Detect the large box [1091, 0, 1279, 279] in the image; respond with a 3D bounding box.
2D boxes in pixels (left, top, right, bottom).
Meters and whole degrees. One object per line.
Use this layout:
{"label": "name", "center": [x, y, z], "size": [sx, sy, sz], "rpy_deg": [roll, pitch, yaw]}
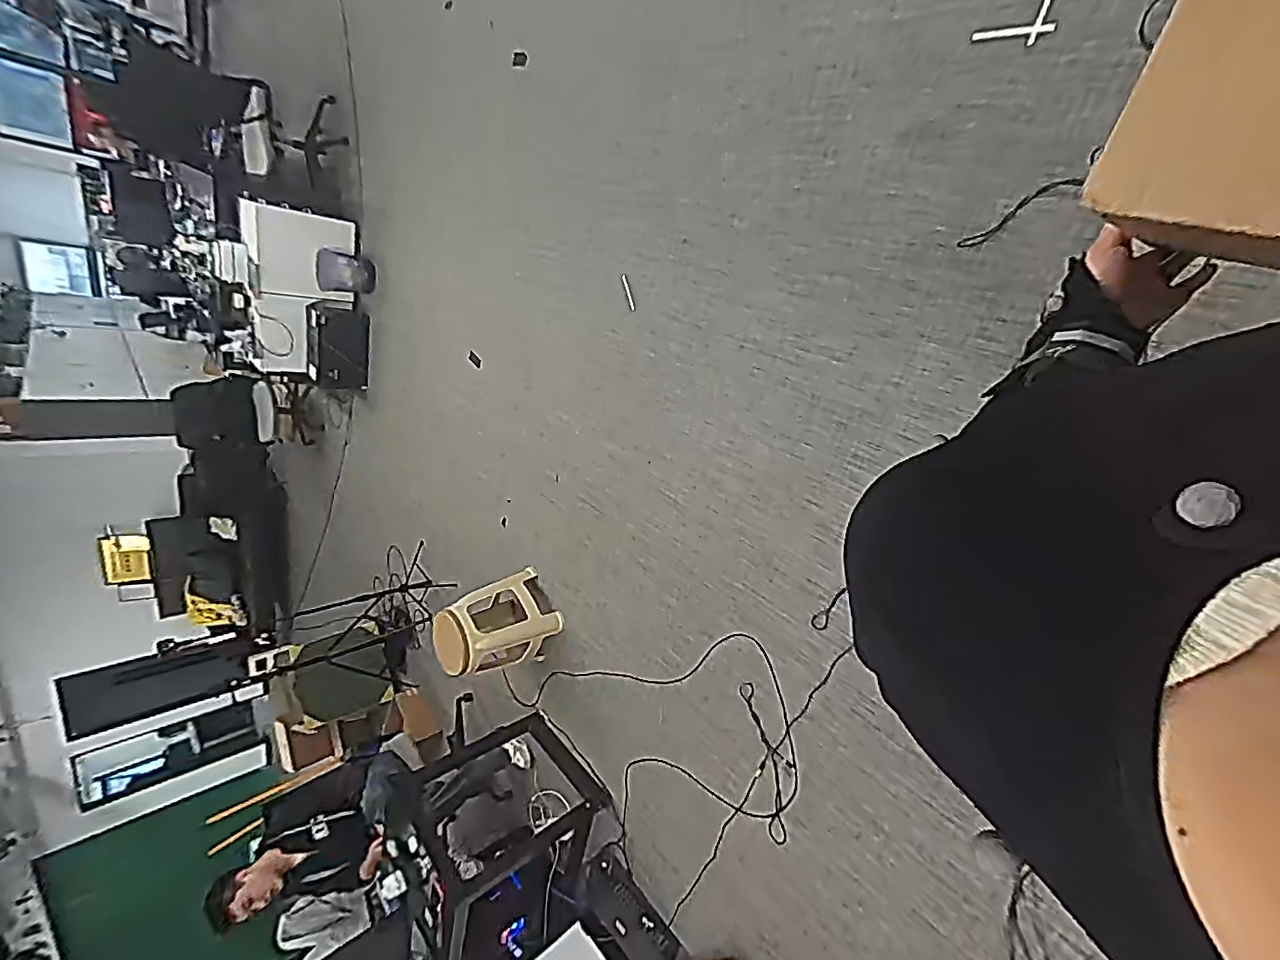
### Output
{"label": "large box", "center": [0.522, -0.229, 0.227], "size": [0.408, 0.320, 0.320], "rpy_deg": [34, 126, 36]}
